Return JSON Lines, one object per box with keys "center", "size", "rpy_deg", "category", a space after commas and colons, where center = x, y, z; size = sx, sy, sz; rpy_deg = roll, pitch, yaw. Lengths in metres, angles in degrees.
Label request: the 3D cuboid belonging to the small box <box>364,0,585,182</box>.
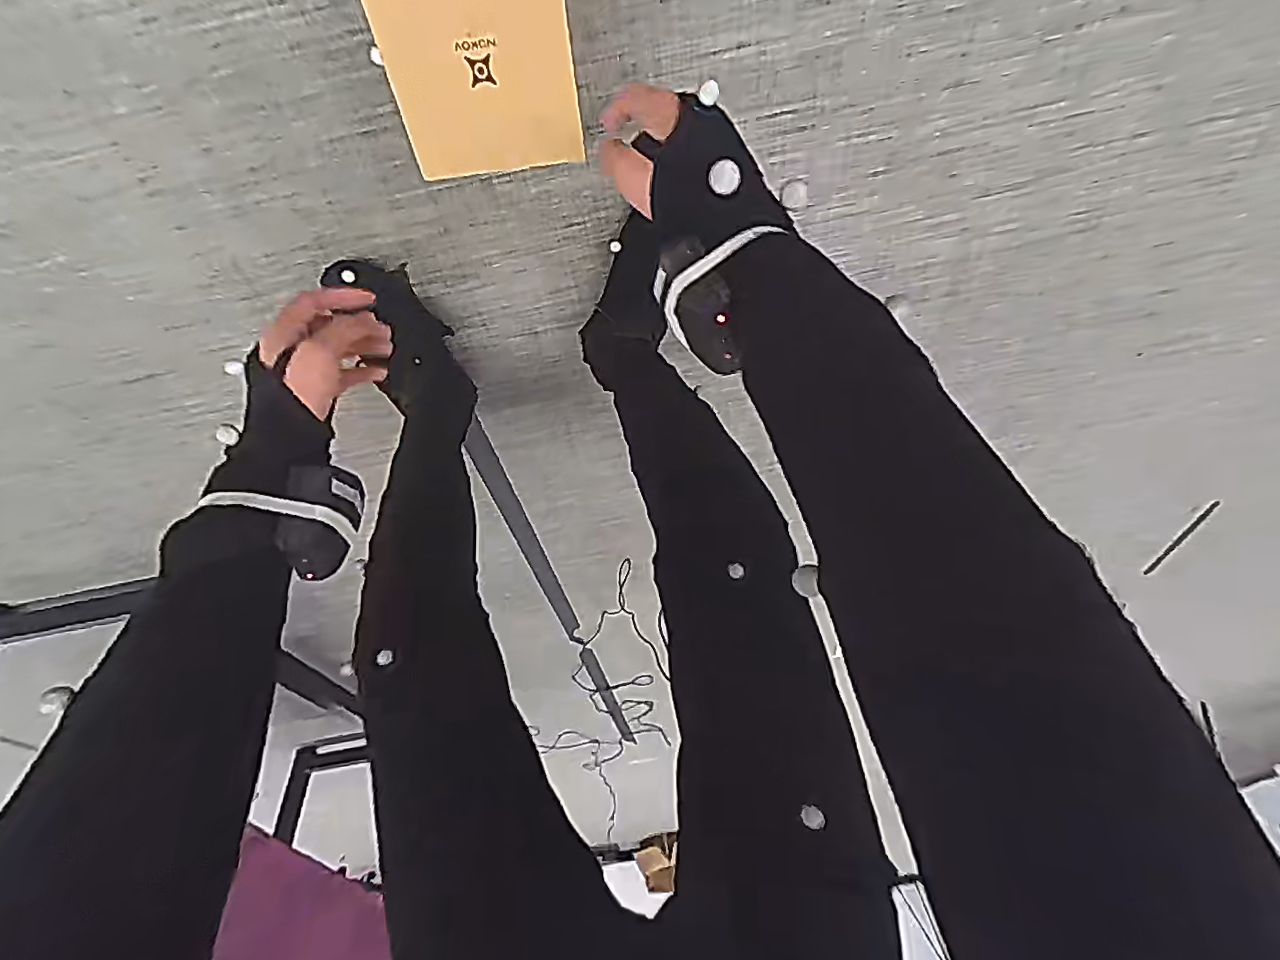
{"center": [-0.147, -0.423, 0.529], "size": [0.168, 0.176, 0.179], "rpy_deg": [-8, 138, -1], "category": "small box"}
